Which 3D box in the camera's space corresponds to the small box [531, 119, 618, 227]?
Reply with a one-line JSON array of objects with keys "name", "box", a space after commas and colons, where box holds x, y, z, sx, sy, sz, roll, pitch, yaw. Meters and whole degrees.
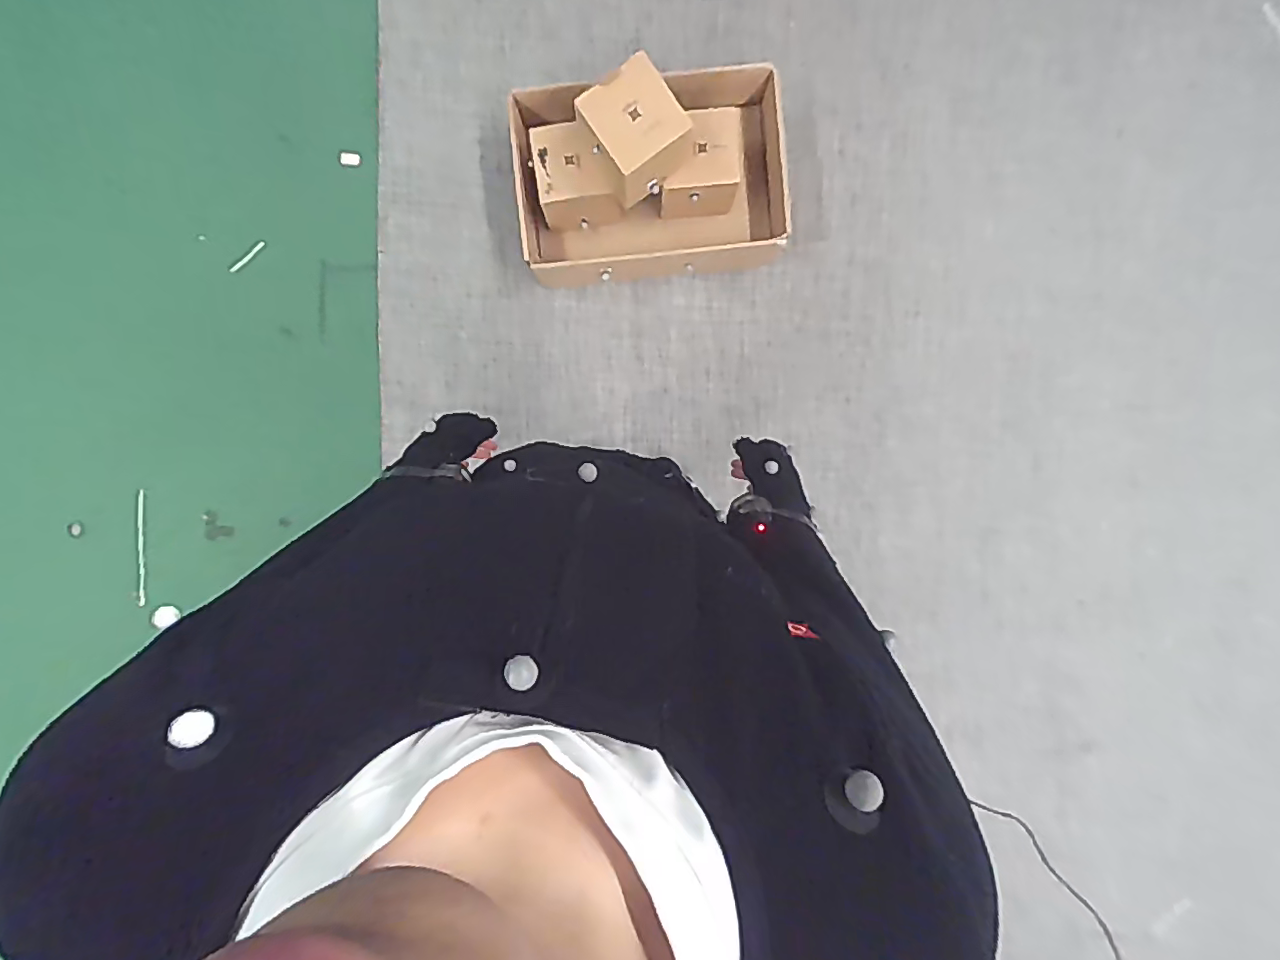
[{"name": "small box", "box": [-0.149, -0.722, 1.281, 0.179, 0.176, 0.168, -9, 93, -2]}]

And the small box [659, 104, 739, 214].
[{"name": "small box", "box": [0.131, -0.750, 1.280, 0.179, 0.176, 0.168, -4, 94, 1]}]

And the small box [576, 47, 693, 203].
[{"name": "small box", "box": [-0.012, -0.720, 1.121, 0.168, 0.176, 0.179, -36, 95, 3]}]
